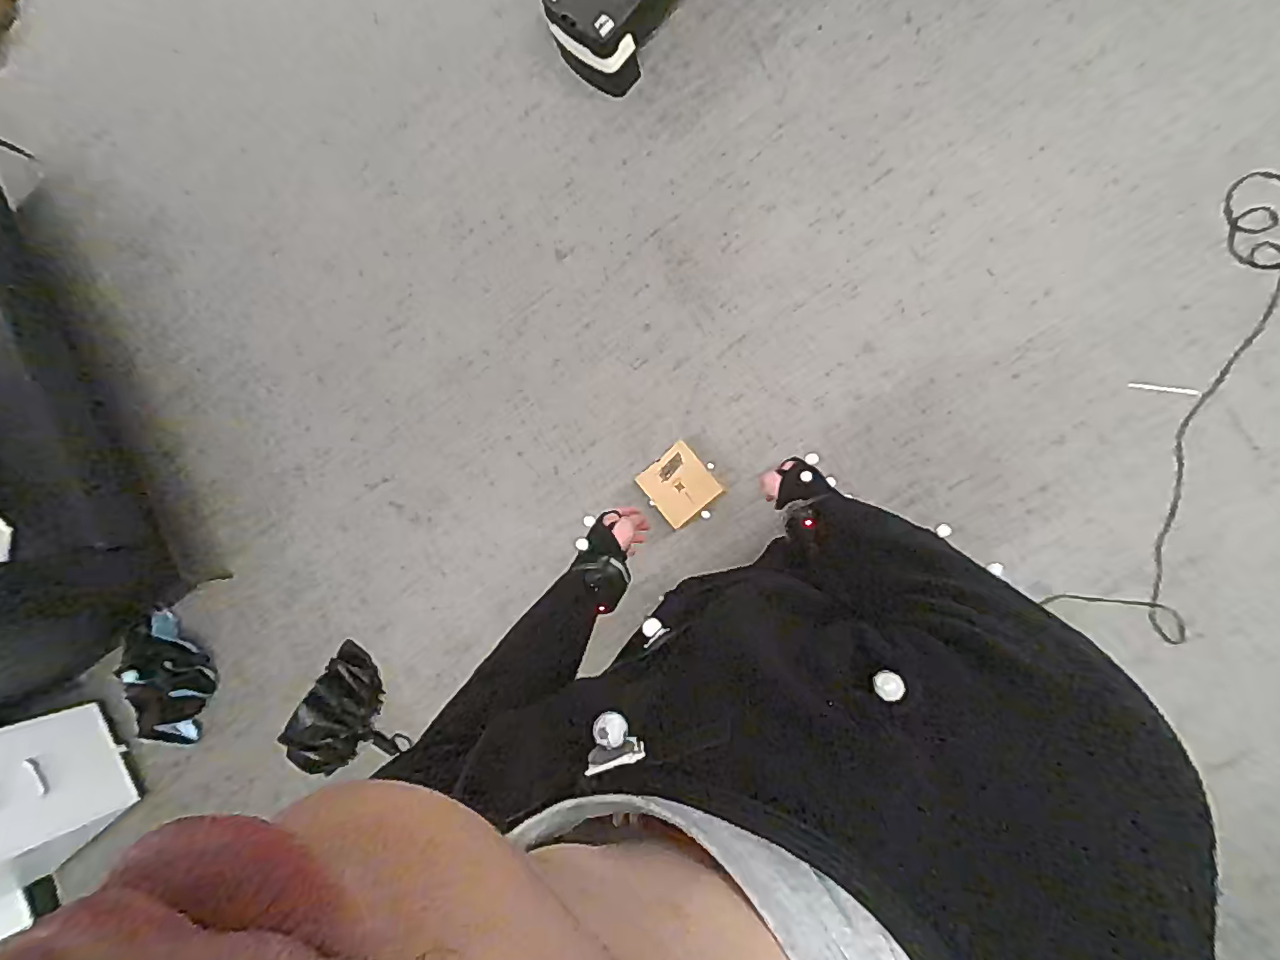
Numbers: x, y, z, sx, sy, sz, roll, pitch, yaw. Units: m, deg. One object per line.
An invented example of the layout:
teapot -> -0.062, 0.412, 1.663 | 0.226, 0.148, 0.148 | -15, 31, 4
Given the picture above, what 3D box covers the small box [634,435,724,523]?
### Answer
small box -> 0.114, 0.003, 1.488 | 0.168, 0.176, 0.179 | -41, 80, 9
